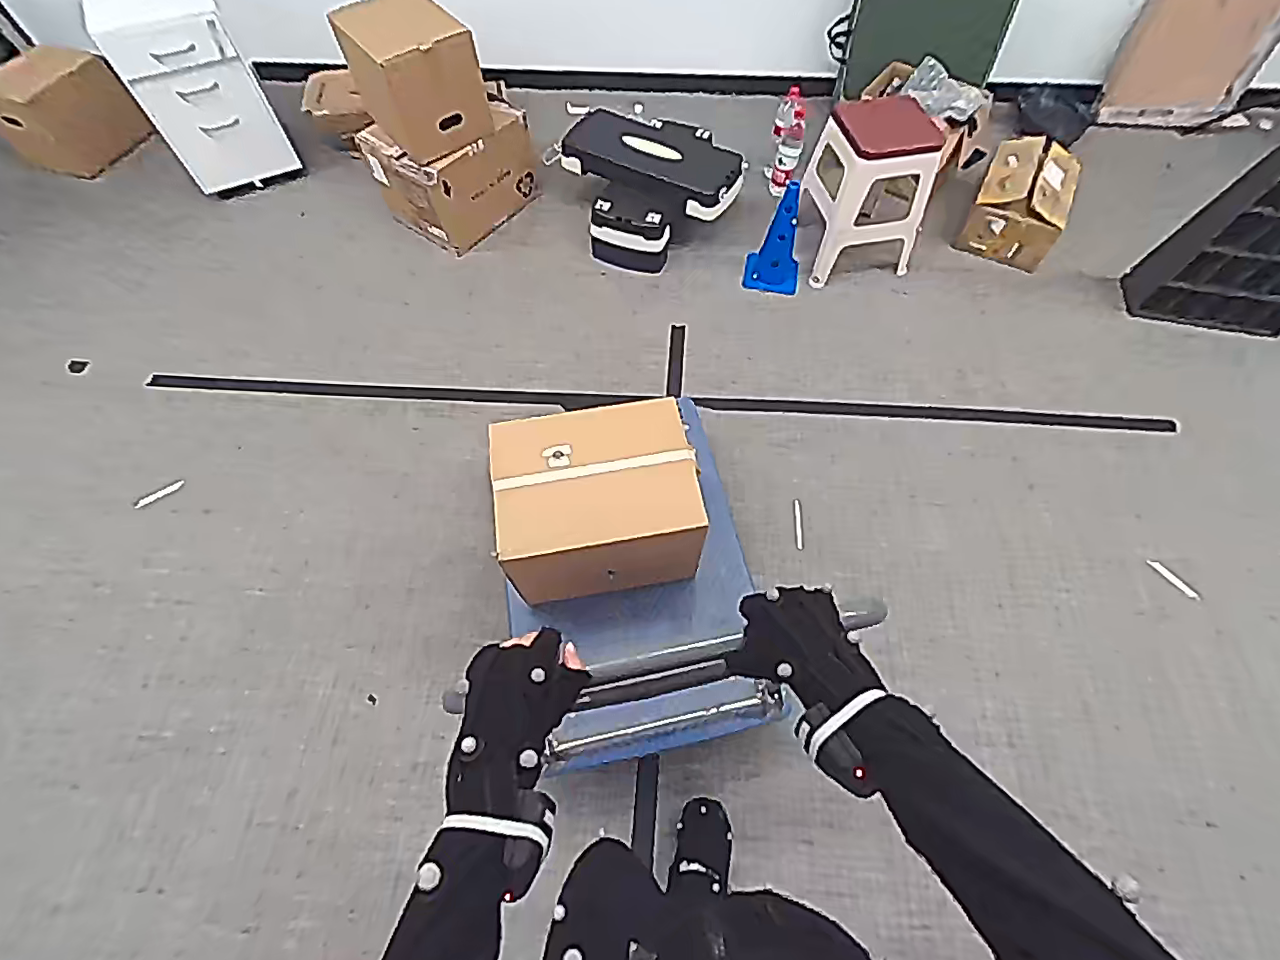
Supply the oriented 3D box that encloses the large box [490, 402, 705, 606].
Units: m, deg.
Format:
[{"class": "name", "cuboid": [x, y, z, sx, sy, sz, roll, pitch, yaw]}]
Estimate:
[{"class": "large box", "cuboid": [-0.092, 0.066, 1.227, 0.408, 0.320, 0.320, -10, 61, -4]}]
